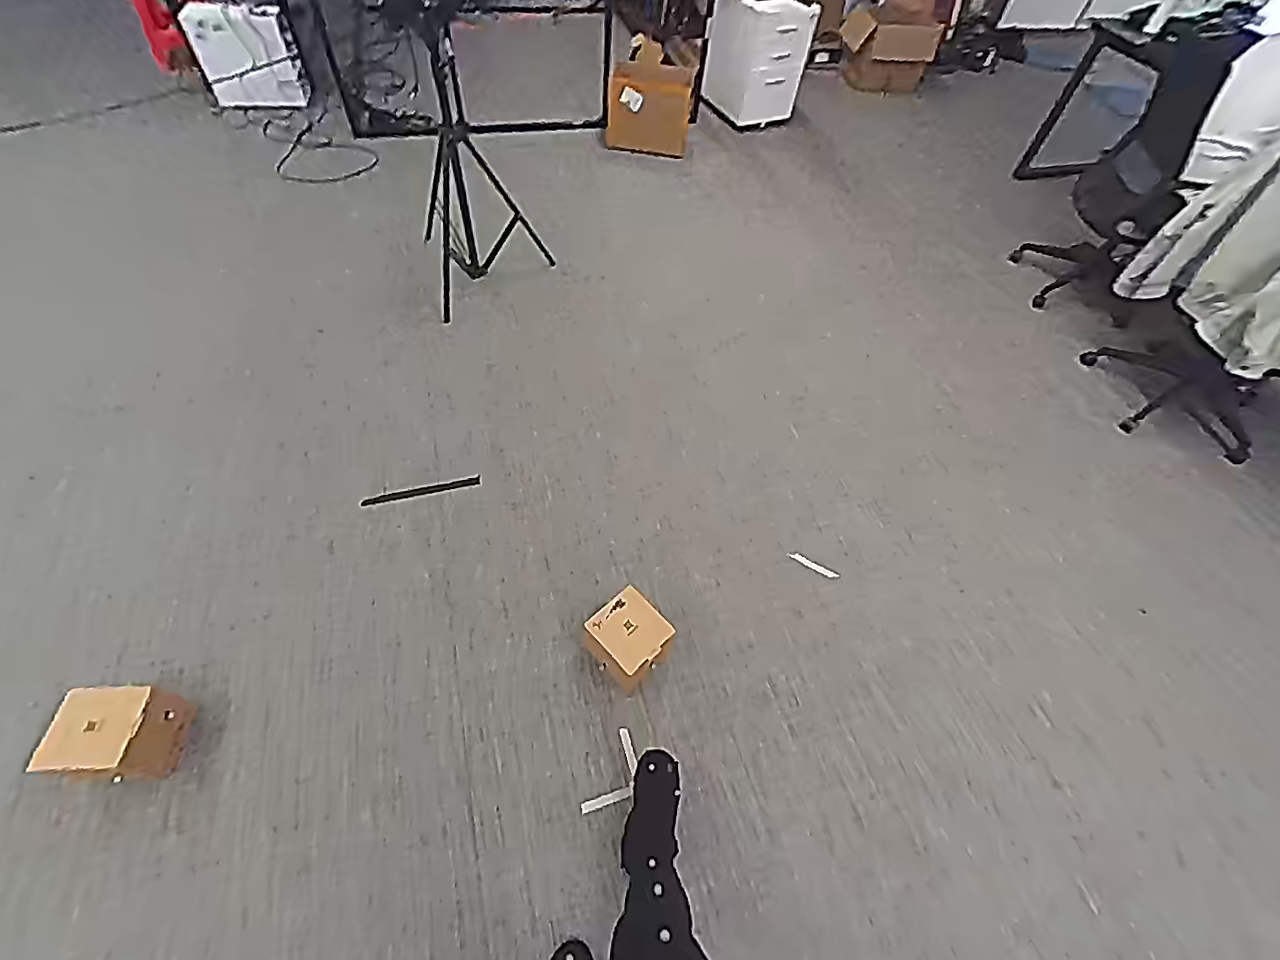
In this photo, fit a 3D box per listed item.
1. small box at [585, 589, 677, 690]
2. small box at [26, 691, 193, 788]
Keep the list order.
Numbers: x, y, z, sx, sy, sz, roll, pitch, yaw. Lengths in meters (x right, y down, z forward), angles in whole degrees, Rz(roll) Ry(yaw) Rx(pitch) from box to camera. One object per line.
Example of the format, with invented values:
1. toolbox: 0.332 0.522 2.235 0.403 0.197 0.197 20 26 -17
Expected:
1. small box: -0.028 0.426 1.418 0.168 0.176 0.179 -37 66 -26
2. small box: -1.160 0.580 1.205 0.179 0.176 0.168 -1 53 -5
